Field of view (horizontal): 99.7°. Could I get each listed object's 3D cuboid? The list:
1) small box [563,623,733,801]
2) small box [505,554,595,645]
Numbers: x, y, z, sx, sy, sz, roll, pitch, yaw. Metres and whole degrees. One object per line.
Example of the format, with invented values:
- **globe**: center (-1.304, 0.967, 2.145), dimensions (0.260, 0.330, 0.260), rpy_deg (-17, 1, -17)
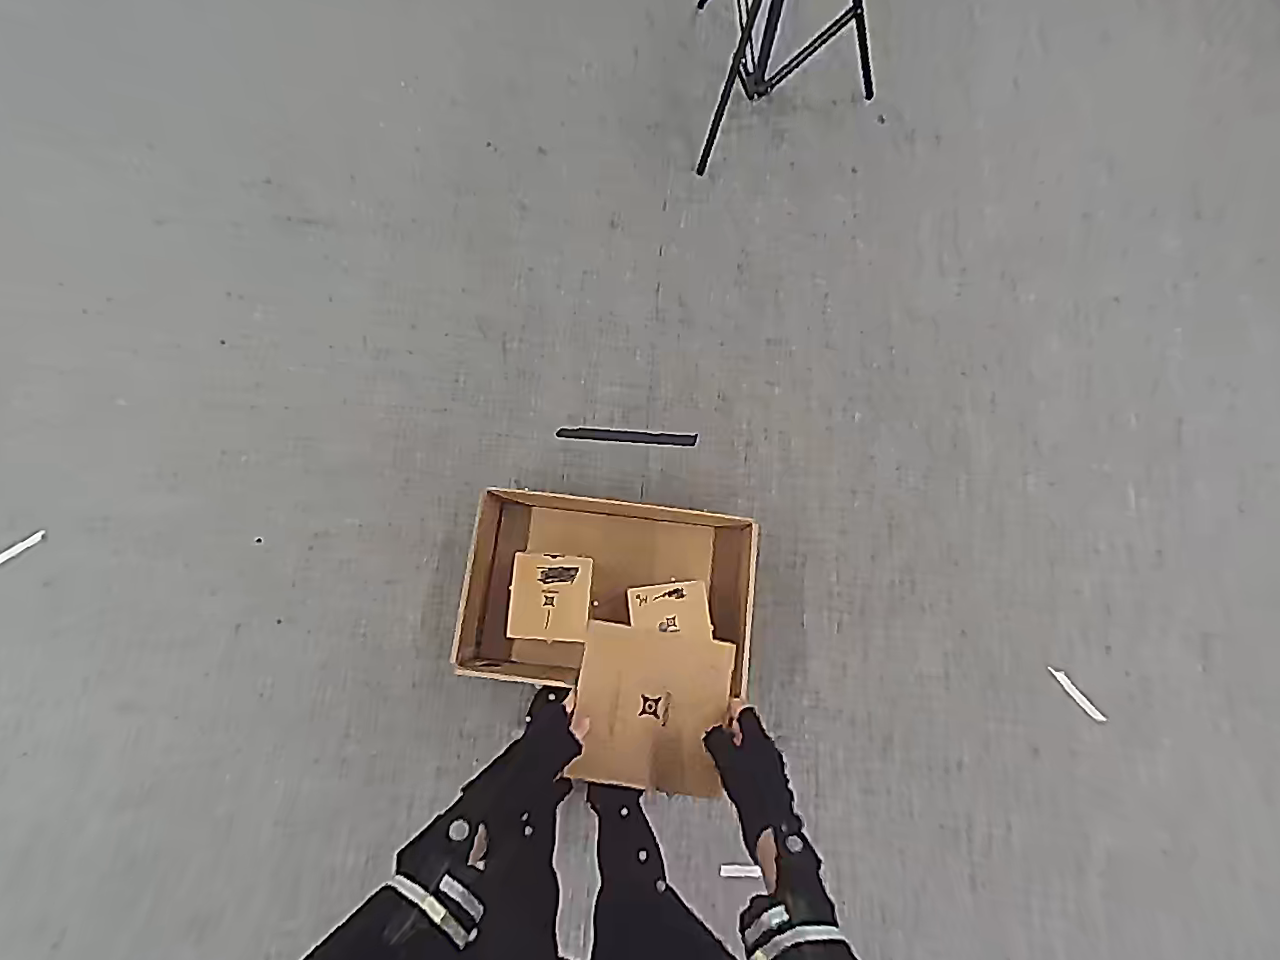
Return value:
- **small box**: center (0.005, 0.283, 0.675), dimensions (0.179, 0.176, 0.168), rpy_deg (9, 67, -3)
- **small box**: center (-0.190, 0.263, 1.195), dimensions (0.168, 0.176, 0.179), rpy_deg (4, 78, -1)
